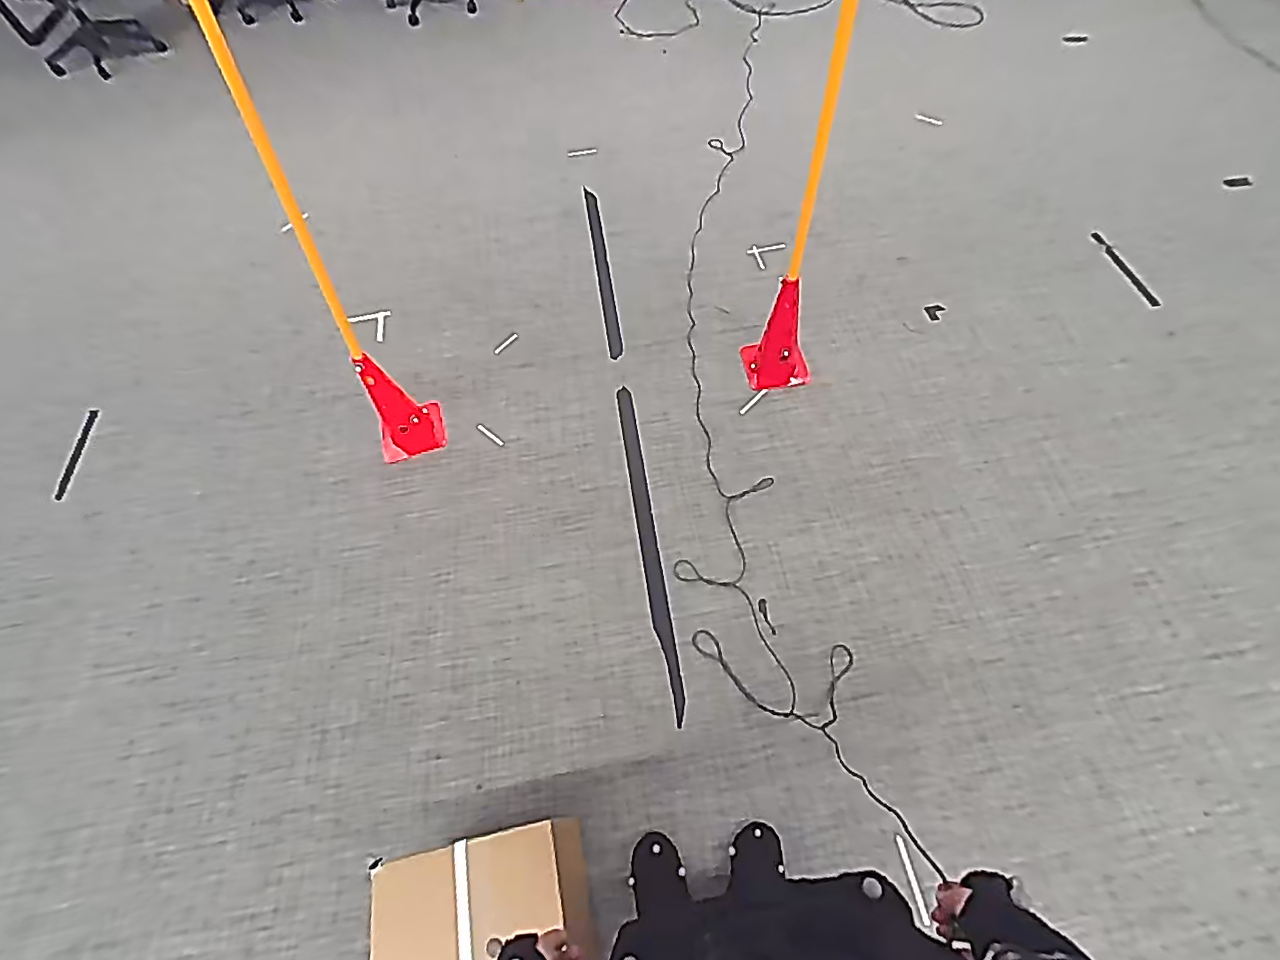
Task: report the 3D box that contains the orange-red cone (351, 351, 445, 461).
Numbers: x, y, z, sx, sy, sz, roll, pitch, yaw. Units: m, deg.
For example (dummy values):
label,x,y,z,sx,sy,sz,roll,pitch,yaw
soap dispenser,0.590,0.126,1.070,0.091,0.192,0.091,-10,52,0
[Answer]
label,x,y,z,sx,sy,sz,roll,pitch,yaw
orange-red cone,-0.749,-0.246,1.605,0.199,0.360,0.198,-18,59,-5
